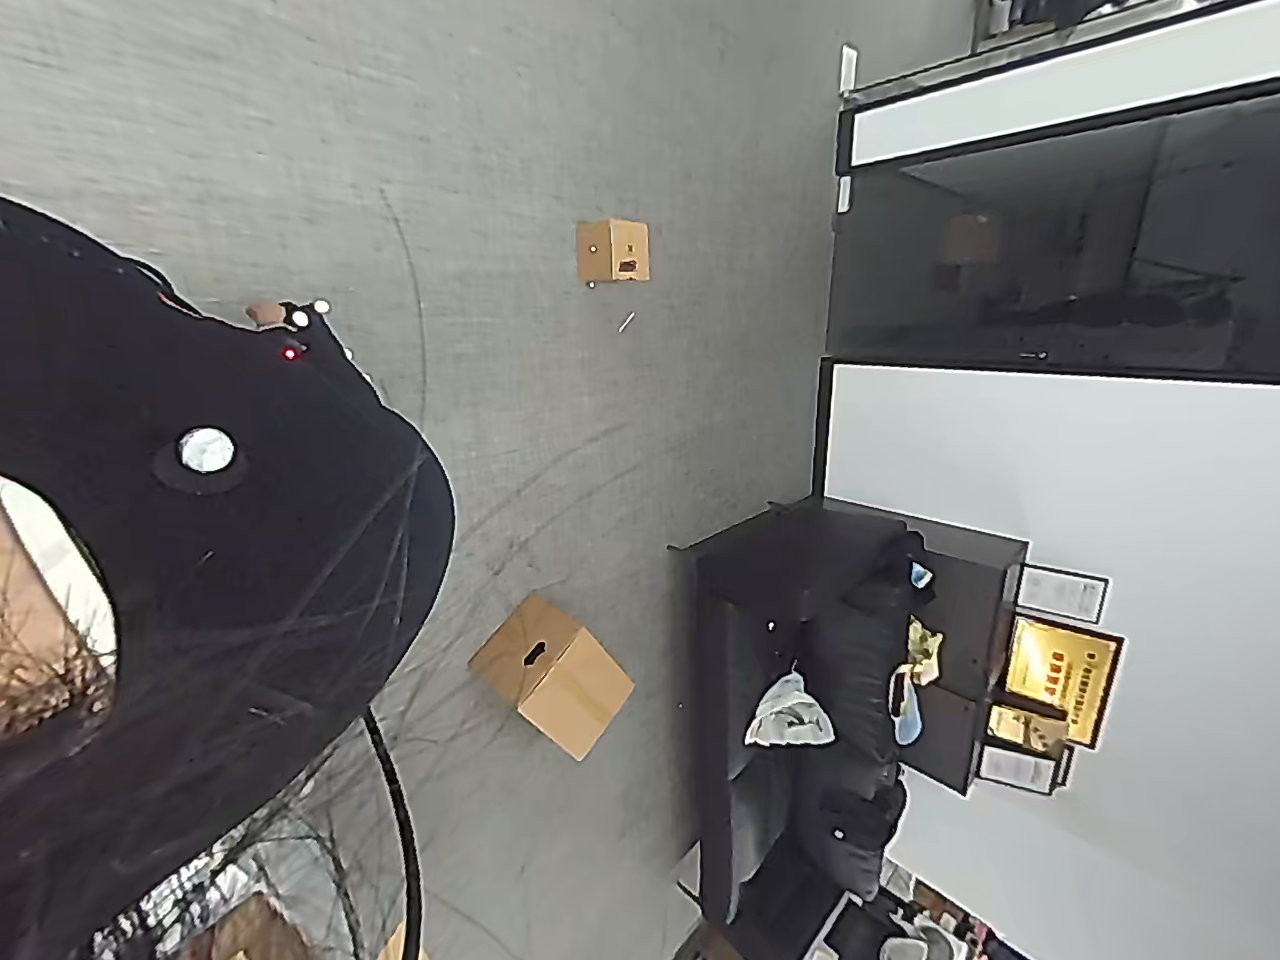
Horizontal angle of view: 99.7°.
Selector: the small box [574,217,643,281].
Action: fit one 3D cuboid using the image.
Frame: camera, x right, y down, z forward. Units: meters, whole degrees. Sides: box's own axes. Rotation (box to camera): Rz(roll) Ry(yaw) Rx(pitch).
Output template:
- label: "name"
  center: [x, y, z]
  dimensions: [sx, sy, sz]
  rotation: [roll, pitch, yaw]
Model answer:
- label: "small box"
  center: [-0.105, -0.754, 1.785]
  dimensions: [0.168, 0.176, 0.179]
  rotation: [-16, 113, -42]
